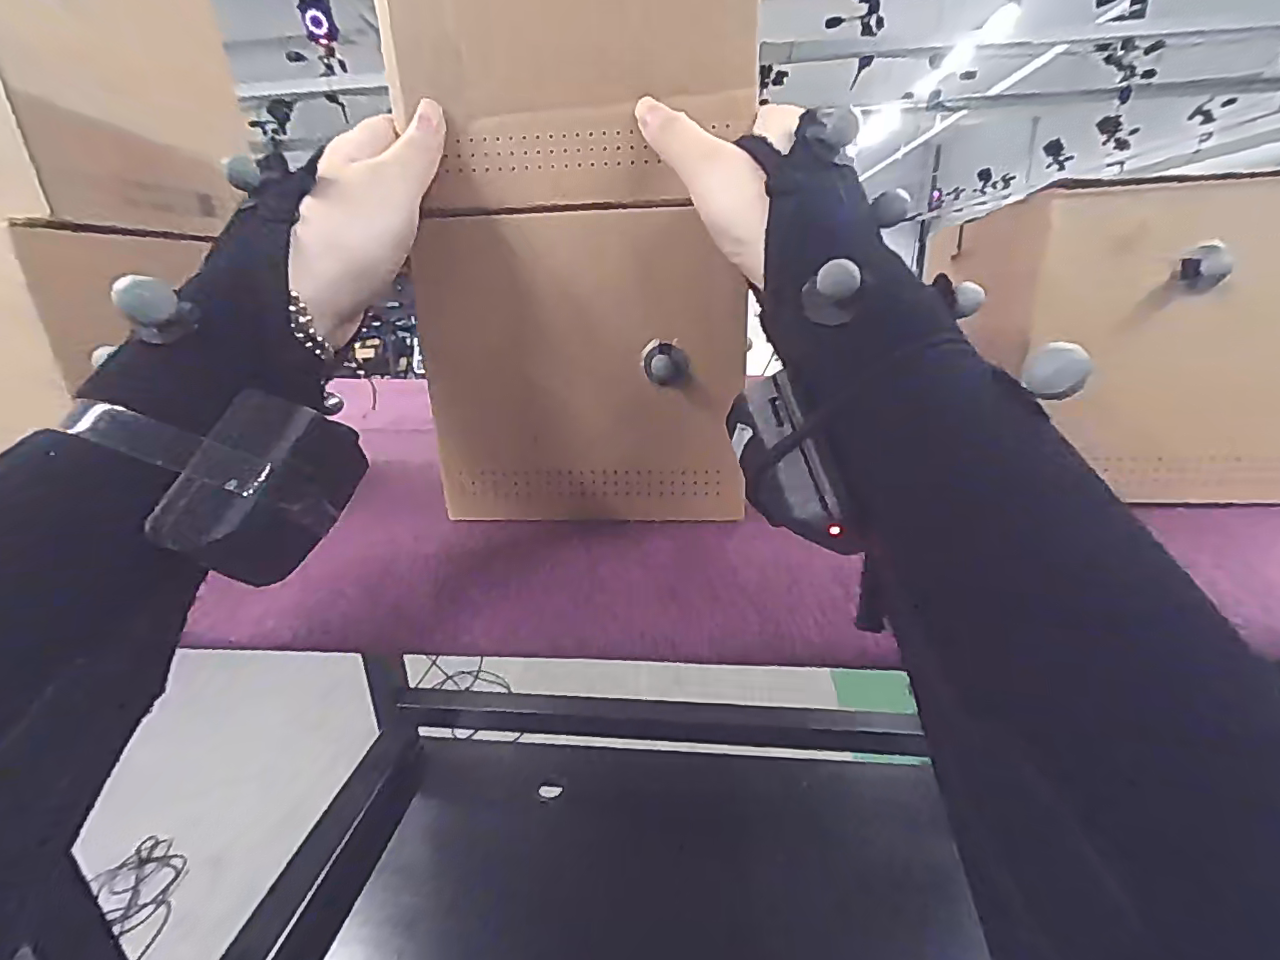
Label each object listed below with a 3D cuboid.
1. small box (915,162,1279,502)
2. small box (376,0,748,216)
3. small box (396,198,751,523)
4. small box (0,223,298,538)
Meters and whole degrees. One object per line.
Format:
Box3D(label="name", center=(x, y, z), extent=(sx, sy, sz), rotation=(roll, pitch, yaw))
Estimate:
Box3D(label="small box", center=(0.296, -0.089, 0.352), extent=(0.179, 0.176, 0.168), rotation=(0, 18, 7))
Box3D(label="small box", center=(-0.034, -0.232, 0.311), extent=(0.179, 0.176, 0.168), rotation=(-1, 19, 3))
Box3D(label="small box", center=(-0.026, -0.077, 0.360), extent=(0.179, 0.176, 0.168), rotation=(-2, 18, 4))
Box3D(label="small box", center=(-0.369, -0.070, 0.362), extent=(0.168, 0.176, 0.179), rotation=(0, 20, 3))
